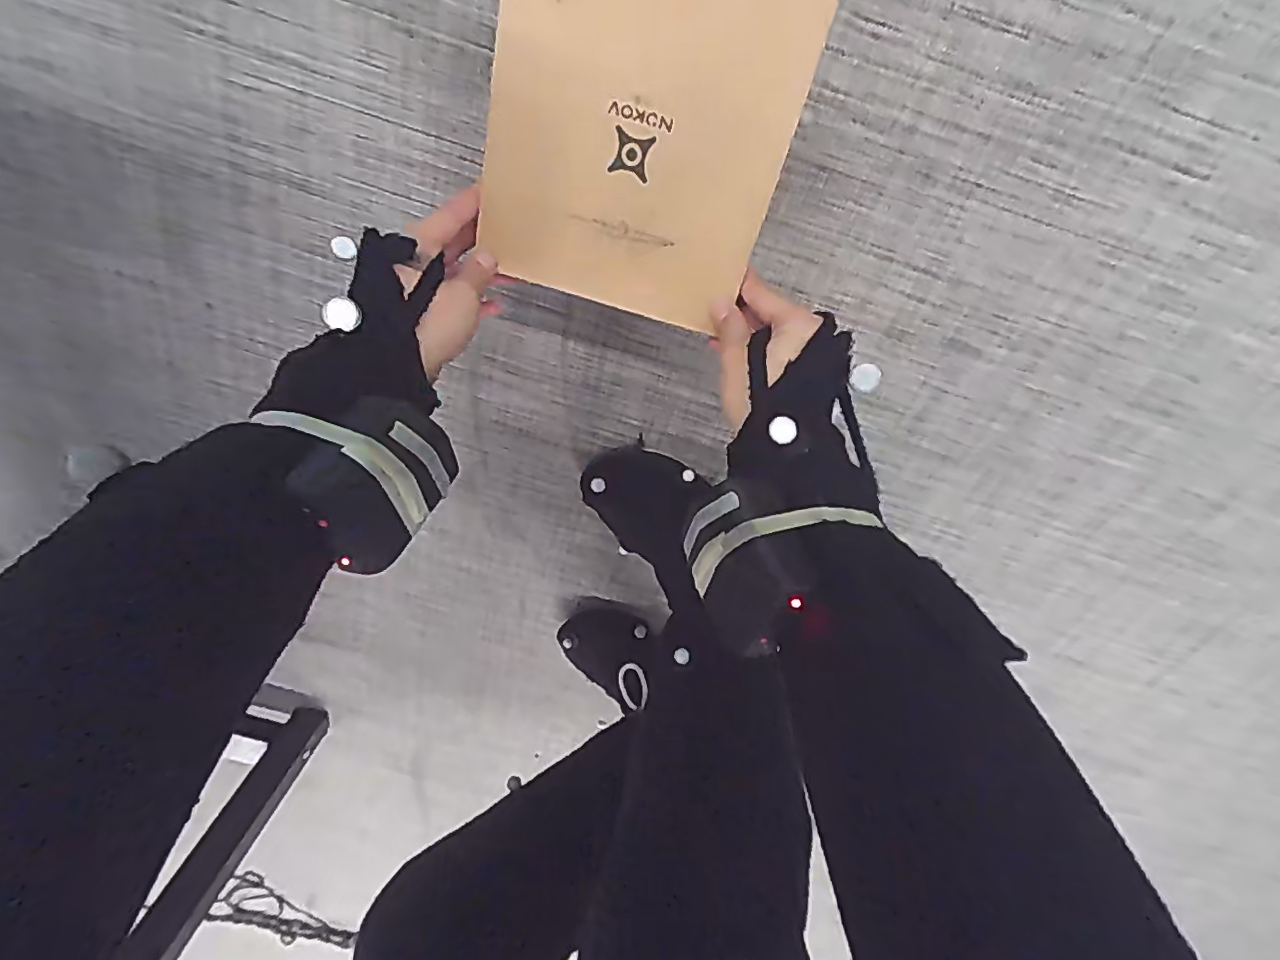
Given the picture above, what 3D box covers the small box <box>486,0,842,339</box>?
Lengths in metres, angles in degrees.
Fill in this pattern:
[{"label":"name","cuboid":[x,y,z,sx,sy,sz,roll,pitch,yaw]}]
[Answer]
[{"label":"small box","cuboid":[0.011,-0.222,0.373,0.168,0.176,0.179,16,120,0]}]
